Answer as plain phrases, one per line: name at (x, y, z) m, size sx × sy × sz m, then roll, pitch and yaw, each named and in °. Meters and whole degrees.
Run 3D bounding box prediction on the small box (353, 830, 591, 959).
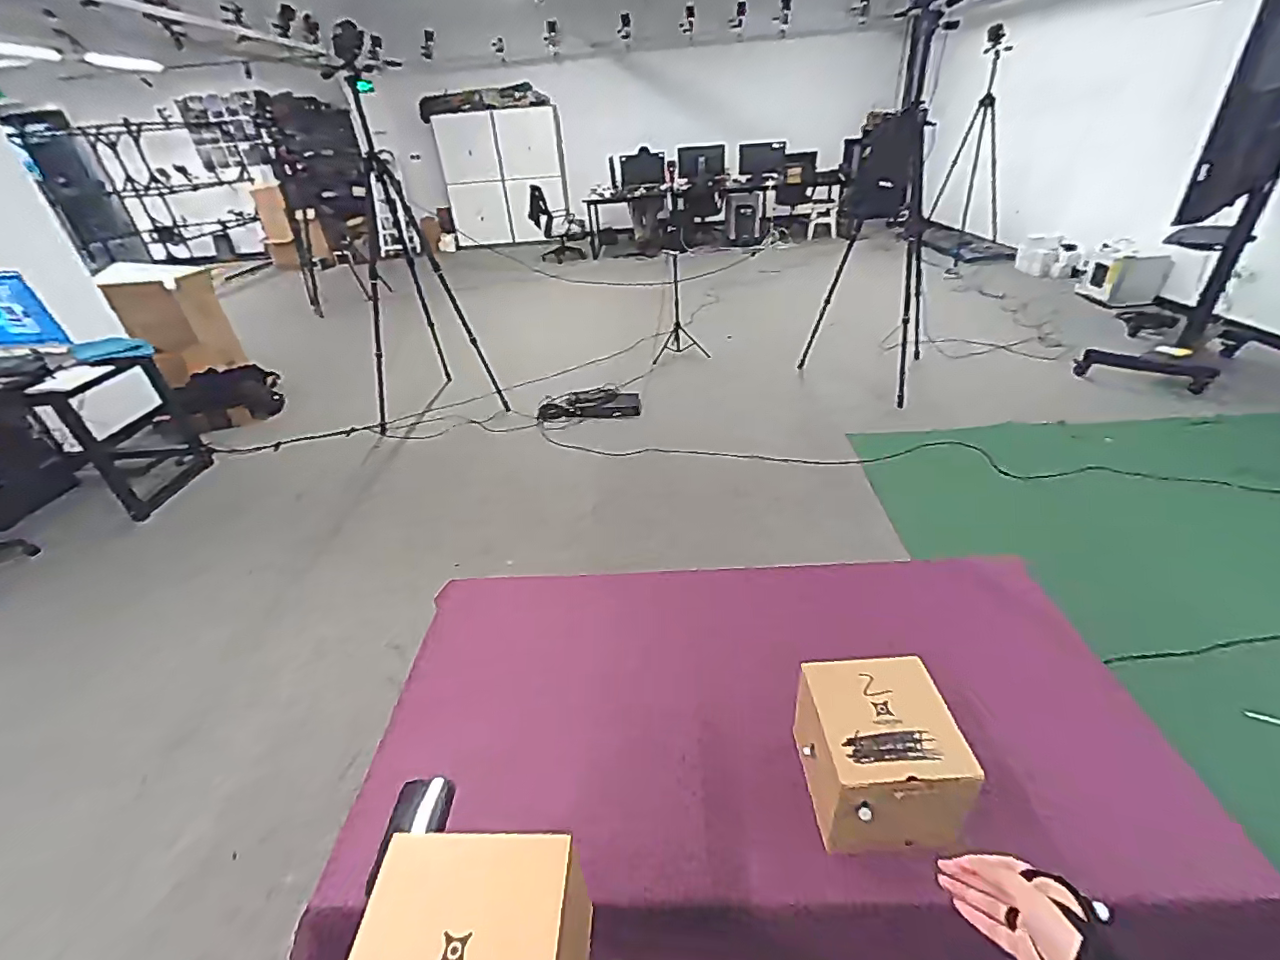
small box at (-0.137, 0.433, 0.462) m, size 0.168 × 0.176 × 0.179 m, roll -1°, pitch 36°, yaw 4°
